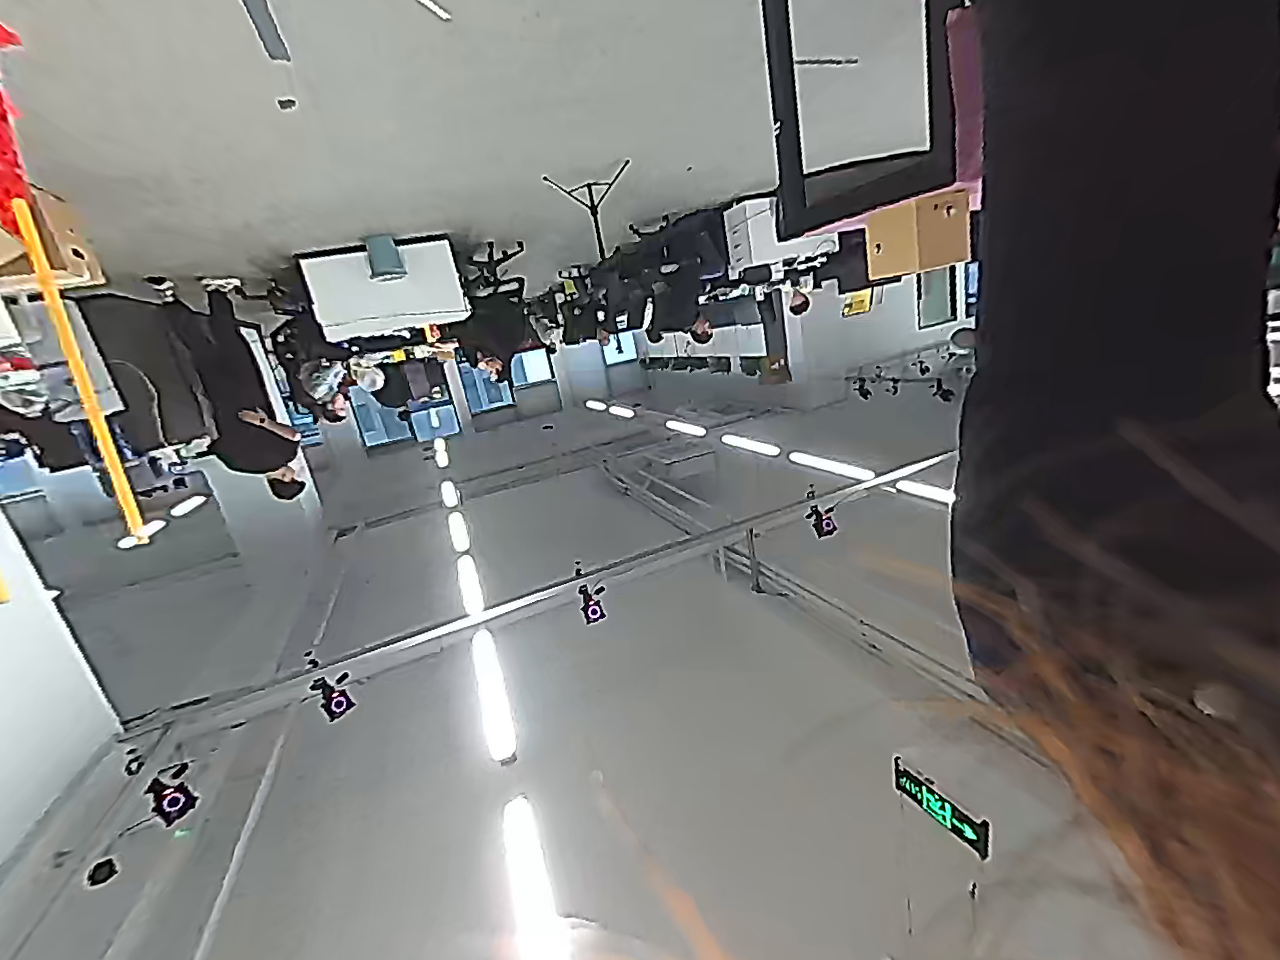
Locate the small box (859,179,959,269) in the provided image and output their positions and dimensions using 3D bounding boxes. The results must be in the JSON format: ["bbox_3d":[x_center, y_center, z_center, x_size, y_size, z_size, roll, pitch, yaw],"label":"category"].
[{"bbox_3d":[0.681,-0.651,1.381,0.168,0.176,0.179,-18,-162,-15],"label":"small box"}]
